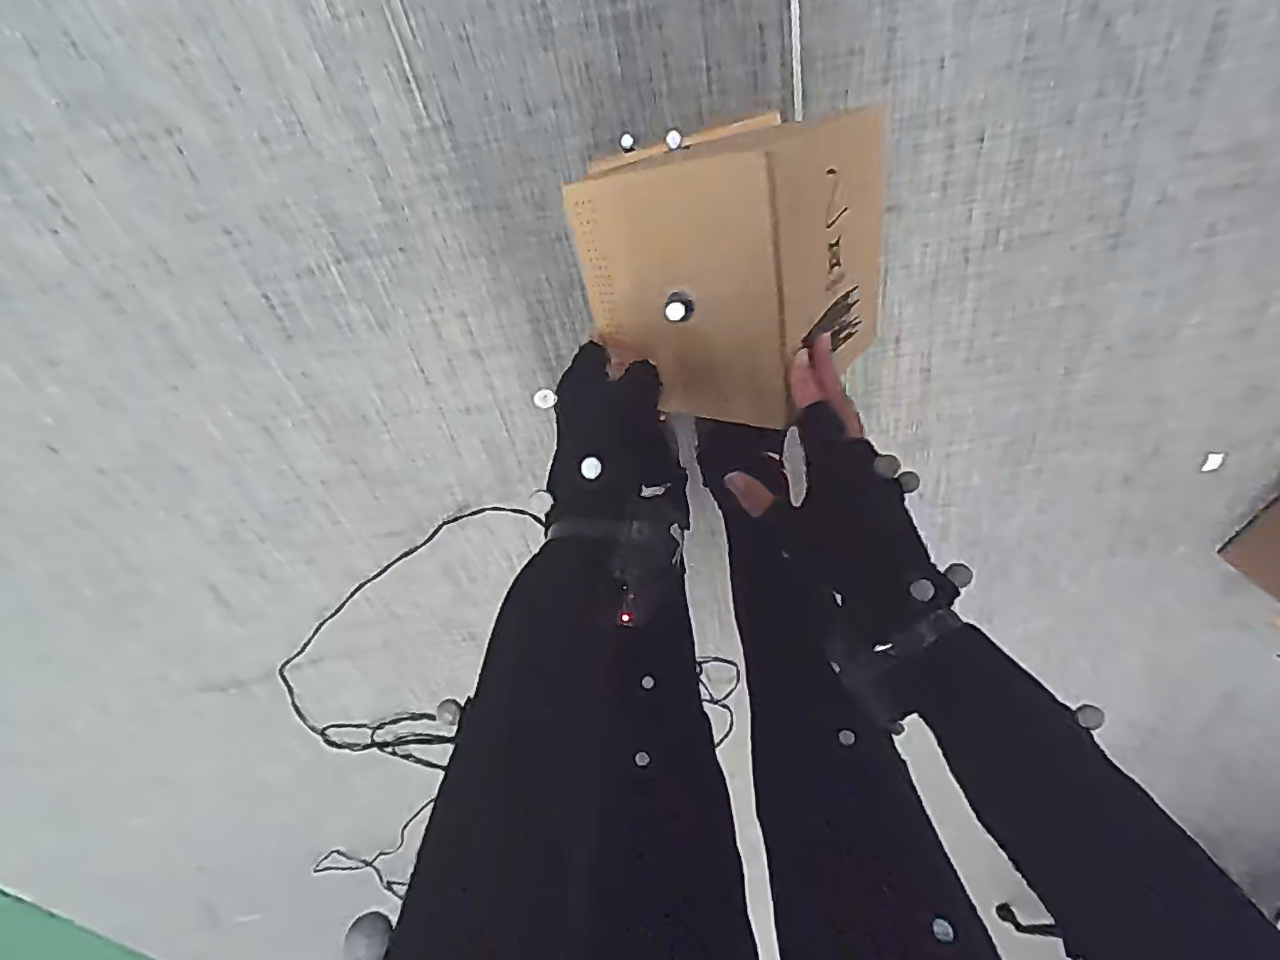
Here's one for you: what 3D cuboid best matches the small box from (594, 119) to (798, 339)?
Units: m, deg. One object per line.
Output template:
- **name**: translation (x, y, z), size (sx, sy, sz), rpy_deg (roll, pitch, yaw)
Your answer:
- **small box**: translation (0.058, -0.276, 0.586), size (0.179, 0.176, 0.168), rpy_deg (-12, 123, 8)
